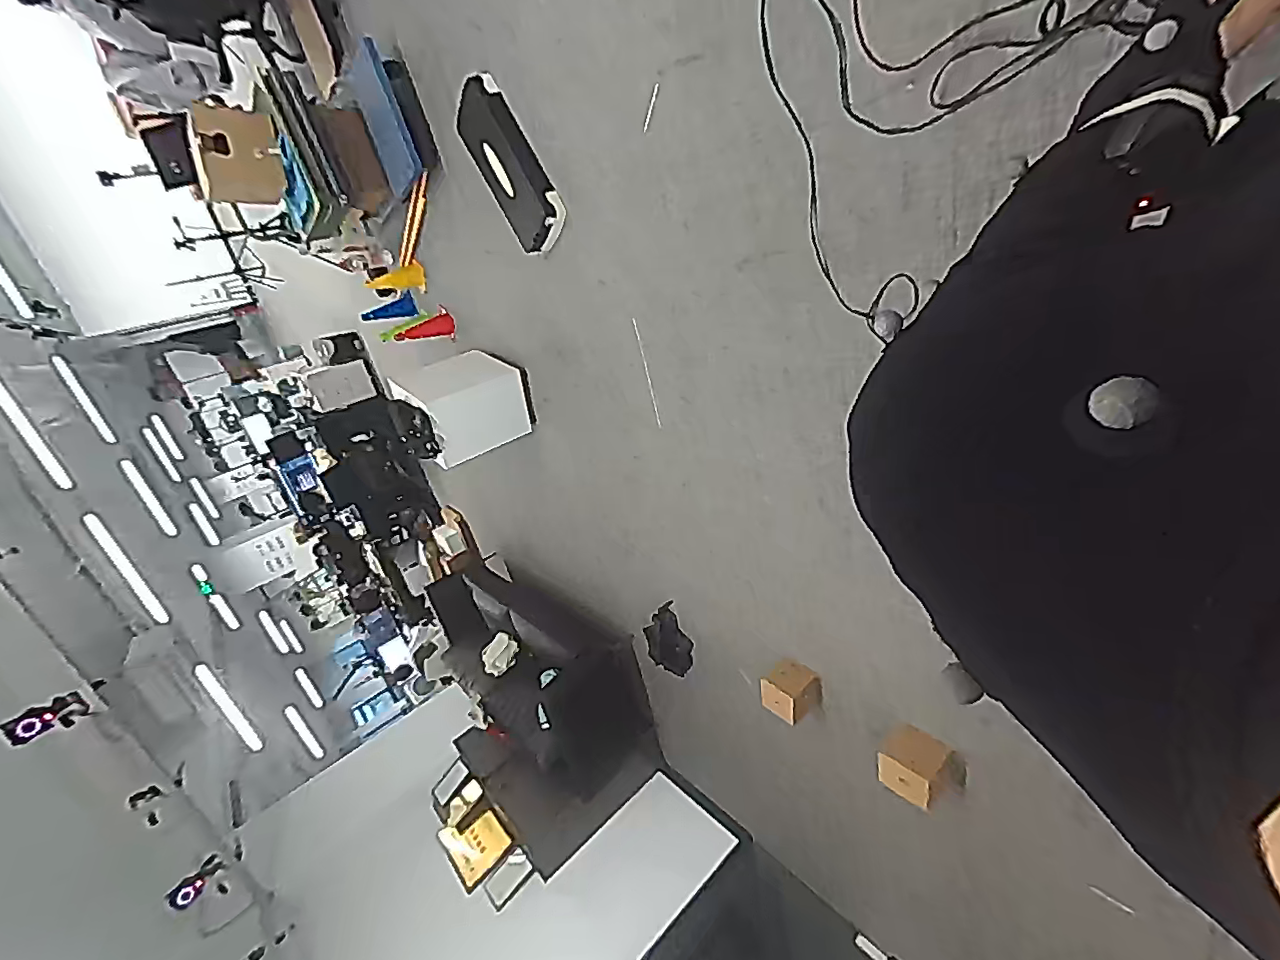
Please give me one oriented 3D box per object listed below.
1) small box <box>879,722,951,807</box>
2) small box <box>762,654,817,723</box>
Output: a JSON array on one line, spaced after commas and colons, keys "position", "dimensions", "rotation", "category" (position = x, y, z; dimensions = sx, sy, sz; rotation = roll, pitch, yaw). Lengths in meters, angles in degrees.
[{"position": [0.973, 0.998, 1.918], "dimensions": [0.179, 0.176, 0.168], "rotation": [18, 129, 47], "category": "small box"}, {"position": [0.639, 0.881, 2.304], "dimensions": [0.168, 0.176, 0.179], "rotation": [24, 134, 46], "category": "small box"}]
